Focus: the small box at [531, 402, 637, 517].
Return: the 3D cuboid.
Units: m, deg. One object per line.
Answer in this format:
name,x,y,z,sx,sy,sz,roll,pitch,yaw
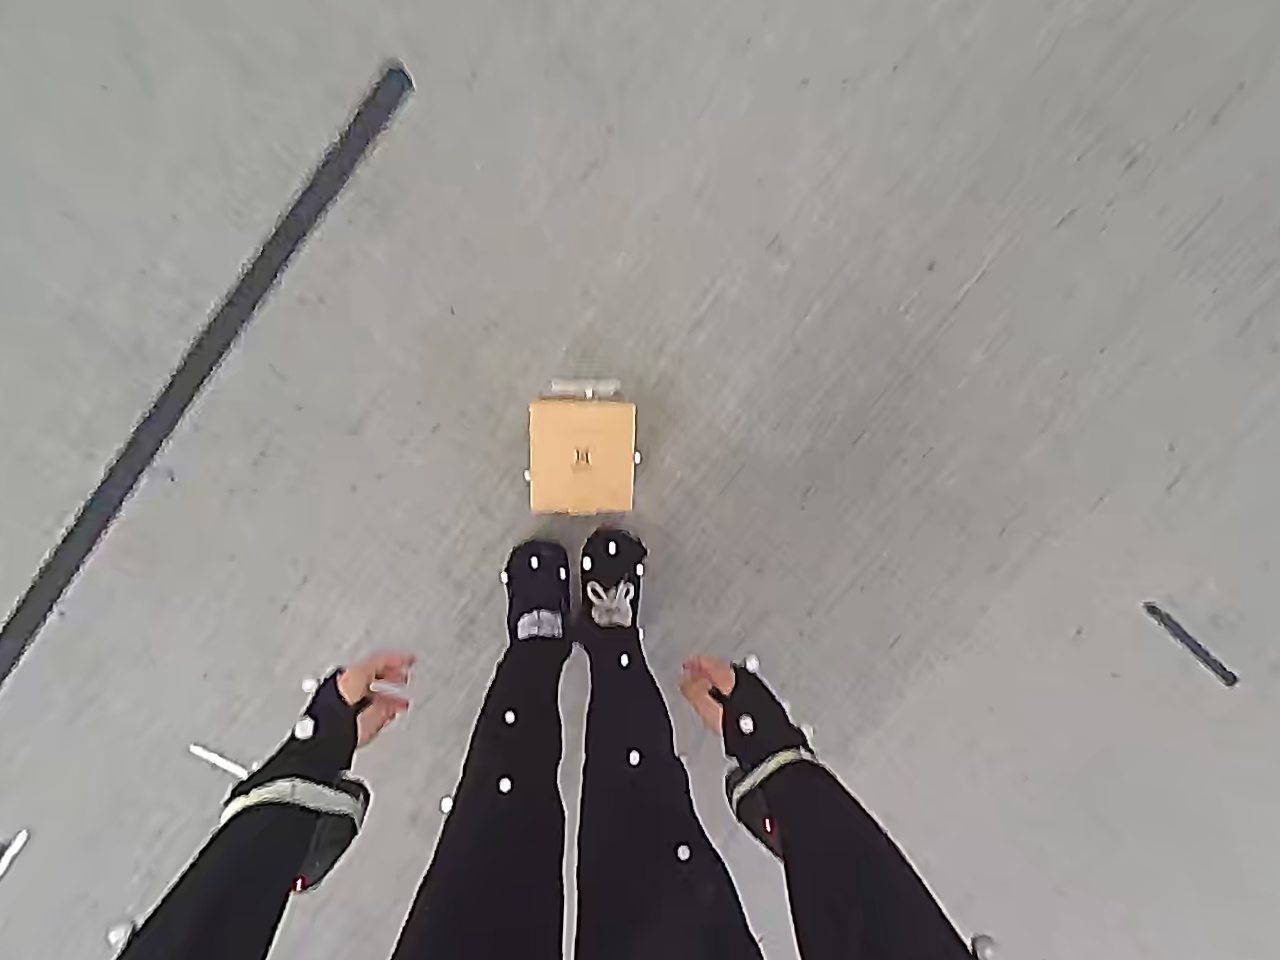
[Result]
small box,-0.098,-0.041,0.934,0.168,0.176,0.179,0,101,-8
